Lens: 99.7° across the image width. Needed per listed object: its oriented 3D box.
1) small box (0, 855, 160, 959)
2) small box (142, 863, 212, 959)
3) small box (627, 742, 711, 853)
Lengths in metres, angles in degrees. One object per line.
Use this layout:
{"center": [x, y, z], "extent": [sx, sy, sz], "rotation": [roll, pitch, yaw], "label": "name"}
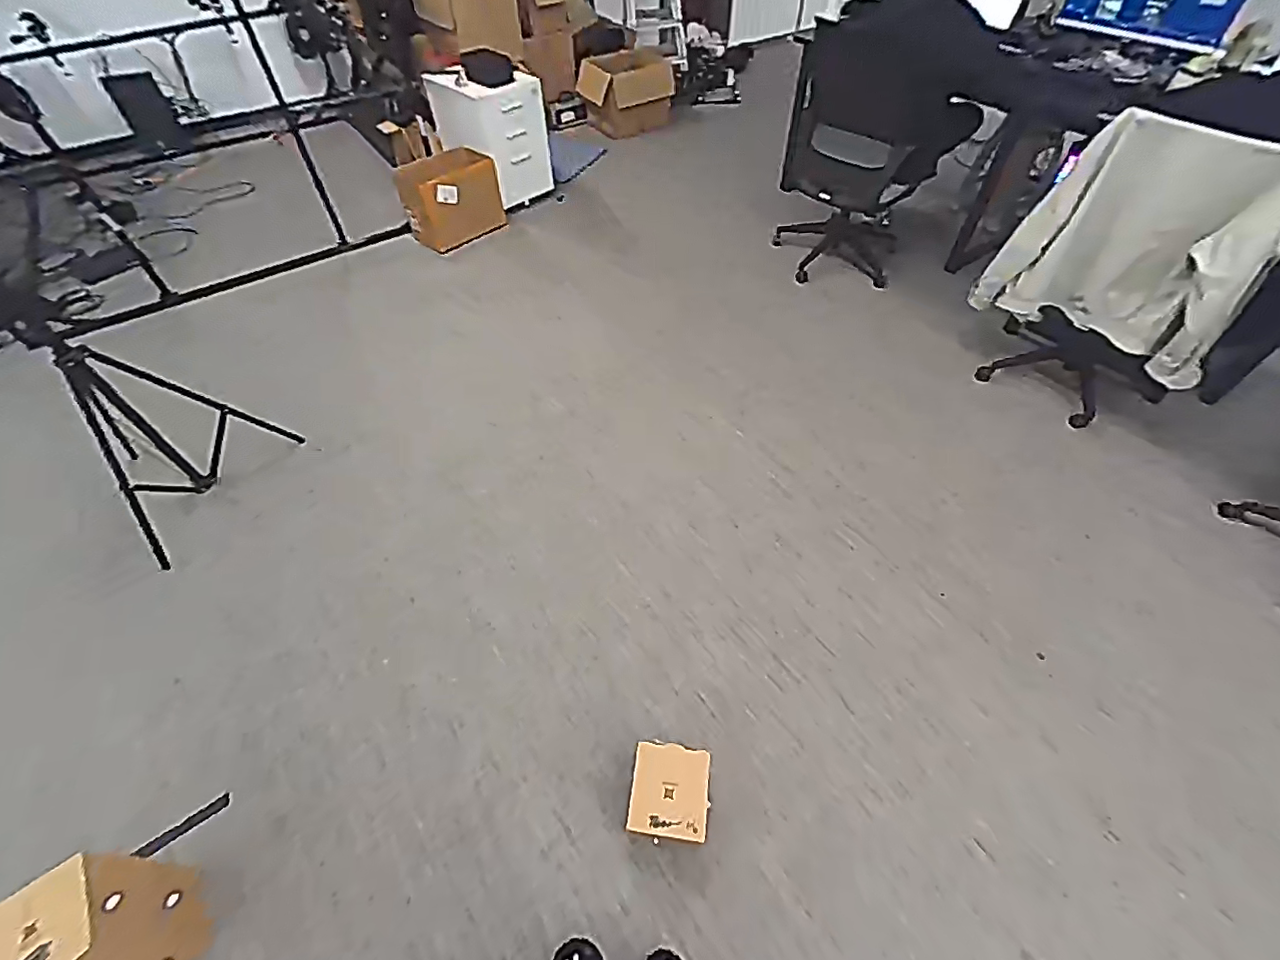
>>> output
{"center": [-1.009, 0.812, 0.963], "extent": [0.168, 0.176, 0.179], "rotation": [-32, 57, -23], "label": "small box"}
{"center": [-1.011, 0.919, 1.089], "extent": [0.168, 0.176, 0.179], "rotation": [-33, 56, -24], "label": "small box"}
{"center": [0.065, 0.720, 1.225], "extent": [0.168, 0.176, 0.179], "rotation": [7, 51, 6], "label": "small box"}
